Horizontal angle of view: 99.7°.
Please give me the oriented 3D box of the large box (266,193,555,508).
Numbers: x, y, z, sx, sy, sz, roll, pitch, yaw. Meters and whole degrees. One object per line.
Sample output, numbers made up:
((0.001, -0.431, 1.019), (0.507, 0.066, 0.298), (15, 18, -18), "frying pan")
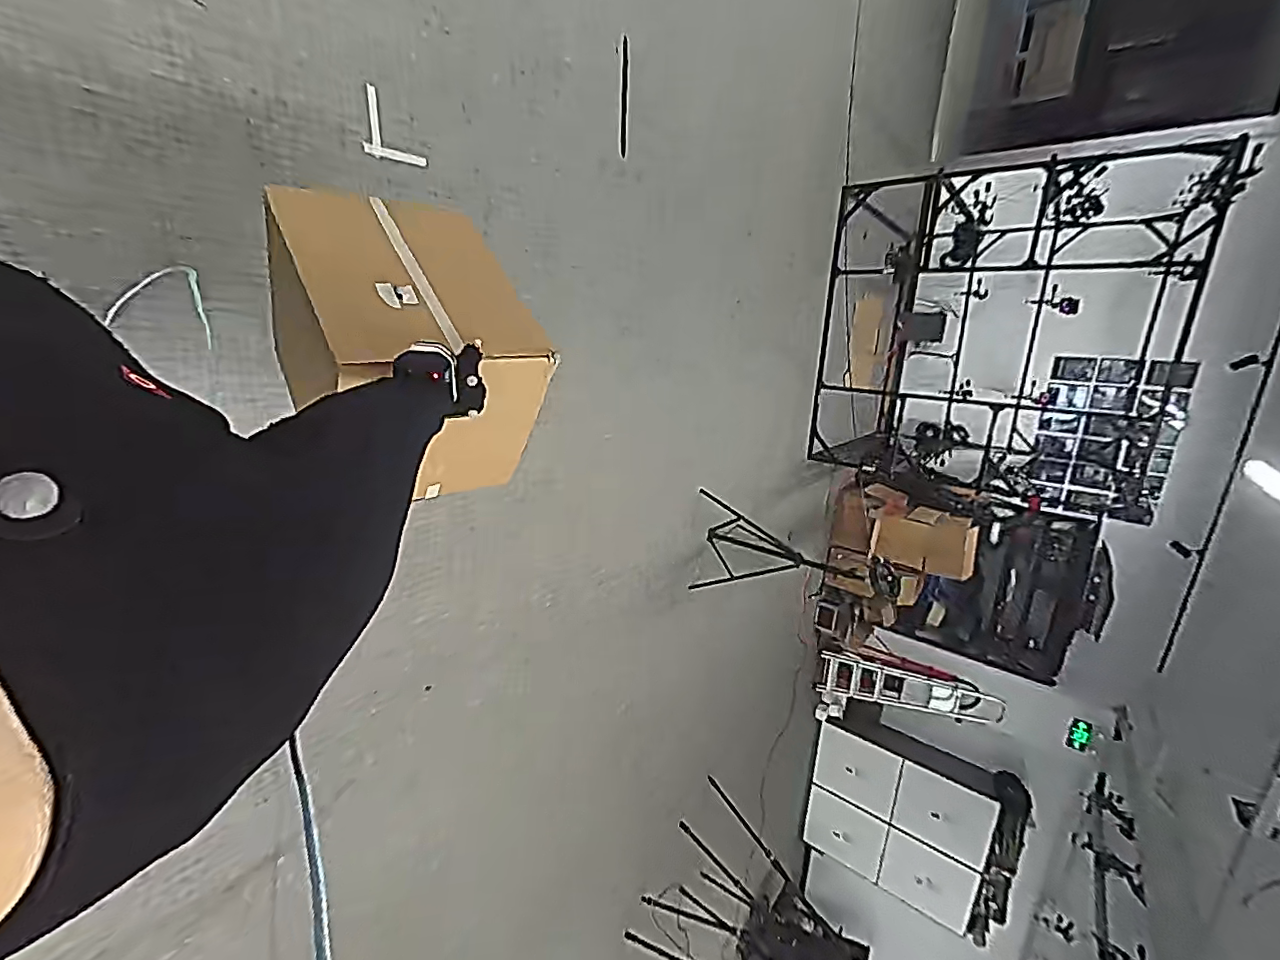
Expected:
((-0.414, -0.221, 0.941), (0.320, 0.408, 0.320), (-14, 151, -39), "large box")
